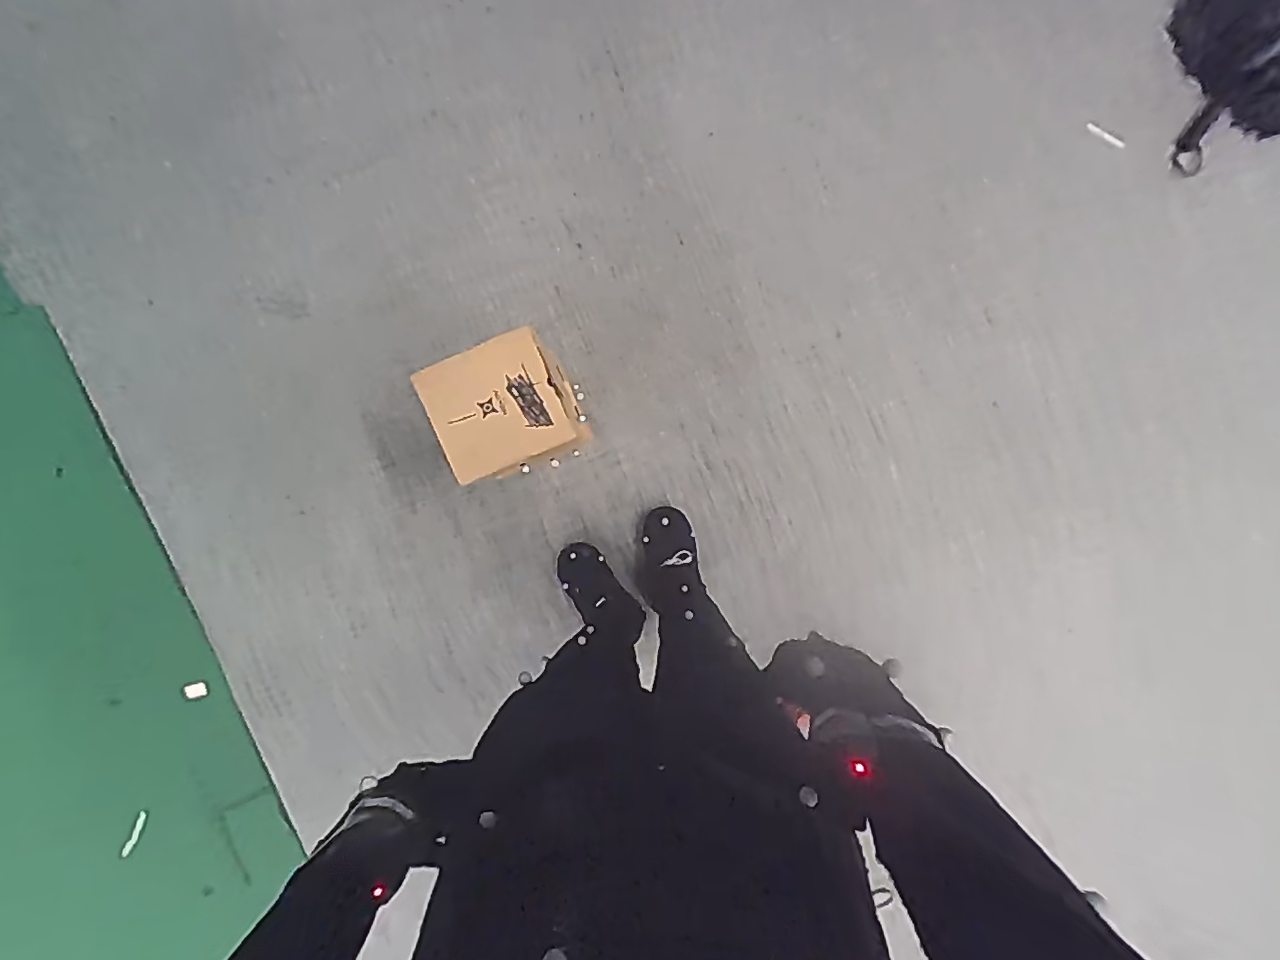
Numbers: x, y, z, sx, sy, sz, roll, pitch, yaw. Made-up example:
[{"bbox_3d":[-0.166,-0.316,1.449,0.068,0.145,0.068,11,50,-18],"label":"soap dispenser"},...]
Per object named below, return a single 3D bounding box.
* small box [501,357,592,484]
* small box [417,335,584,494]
[{"bbox_3d":[-0.195,-0.104,0.979,0.179,0.176,0.168,-23,94,0],"label":"small box"},{"bbox_3d":[-0.195,-0.095,0.814,0.179,0.176,0.168,-26,94,-1],"label":"small box"}]
